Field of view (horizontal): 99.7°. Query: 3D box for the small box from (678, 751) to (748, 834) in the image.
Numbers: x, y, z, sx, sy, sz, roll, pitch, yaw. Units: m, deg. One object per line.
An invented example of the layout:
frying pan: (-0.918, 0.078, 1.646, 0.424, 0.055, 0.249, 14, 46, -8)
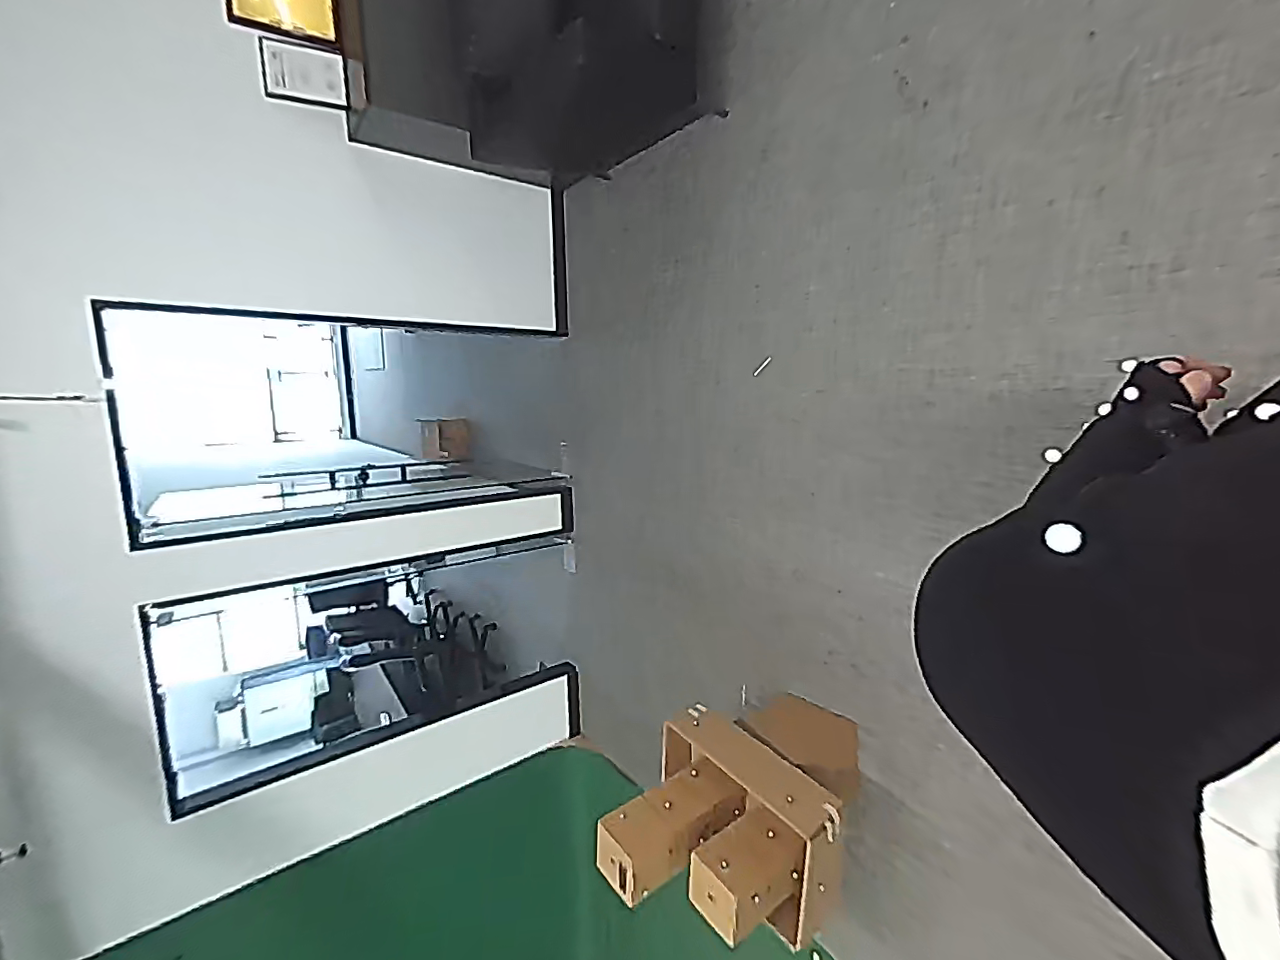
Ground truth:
small box: (0.243, 1.061, 1.844, 0.179, 0.176, 0.168, 16, 109, 50)

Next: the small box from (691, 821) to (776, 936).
small box: (0.268, 1.128, 1.549, 0.179, 0.176, 0.168, 17, 109, 51)

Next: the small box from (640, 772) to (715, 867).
small box: (0.119, 1.079, 1.743, 0.179, 0.176, 0.168, 14, 107, 49)
